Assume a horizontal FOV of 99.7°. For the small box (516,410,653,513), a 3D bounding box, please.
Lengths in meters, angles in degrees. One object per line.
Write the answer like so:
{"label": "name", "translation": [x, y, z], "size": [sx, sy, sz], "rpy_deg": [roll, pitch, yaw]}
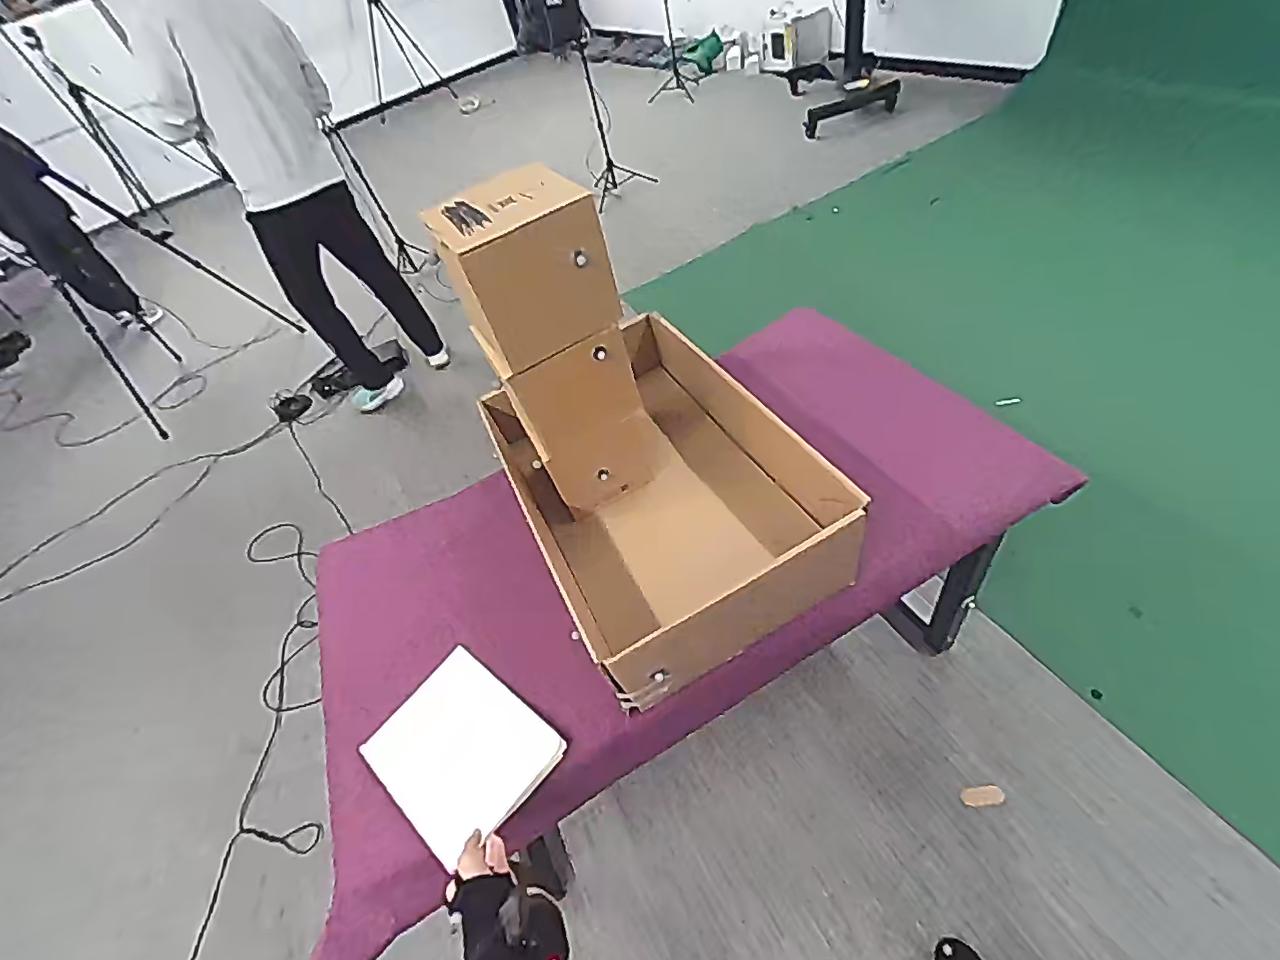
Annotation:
{"label": "small box", "translation": [-0.093, -0.064, 0.957], "size": [0.168, 0.176, 0.179], "rpy_deg": [-28, 50, -8]}

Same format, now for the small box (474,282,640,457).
{"label": "small box", "translation": [-0.123, -0.167, 0.835], "size": [0.179, 0.176, 0.168], "rpy_deg": [-30, 50, -10]}
